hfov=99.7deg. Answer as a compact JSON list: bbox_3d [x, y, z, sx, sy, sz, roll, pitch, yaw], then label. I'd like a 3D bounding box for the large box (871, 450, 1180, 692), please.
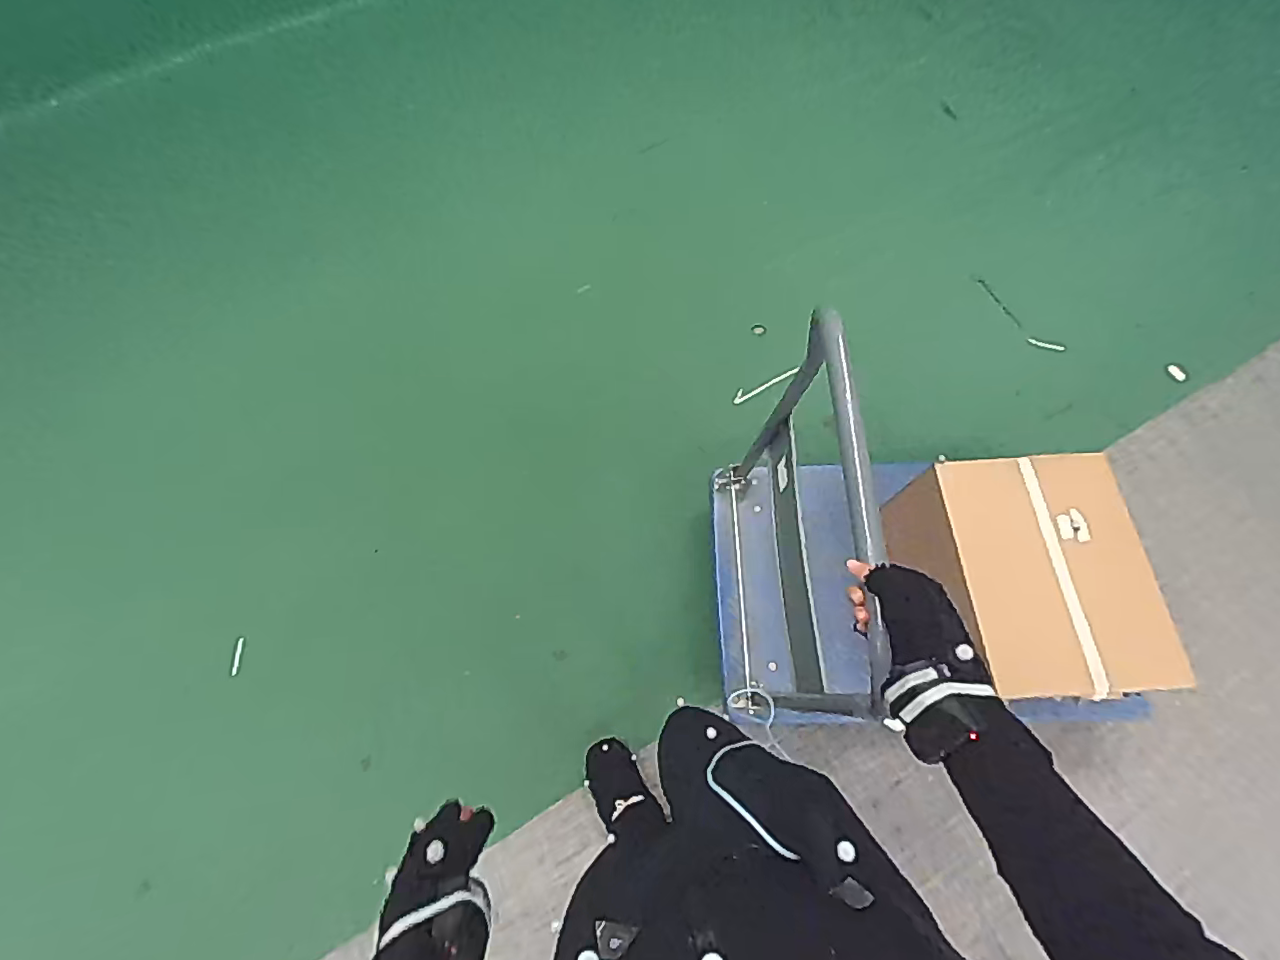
[{"bbox_3d":[0.698,0.193,1.066,0.320,0.320,0.408,-2,68,-1],"label":"large box"}]
